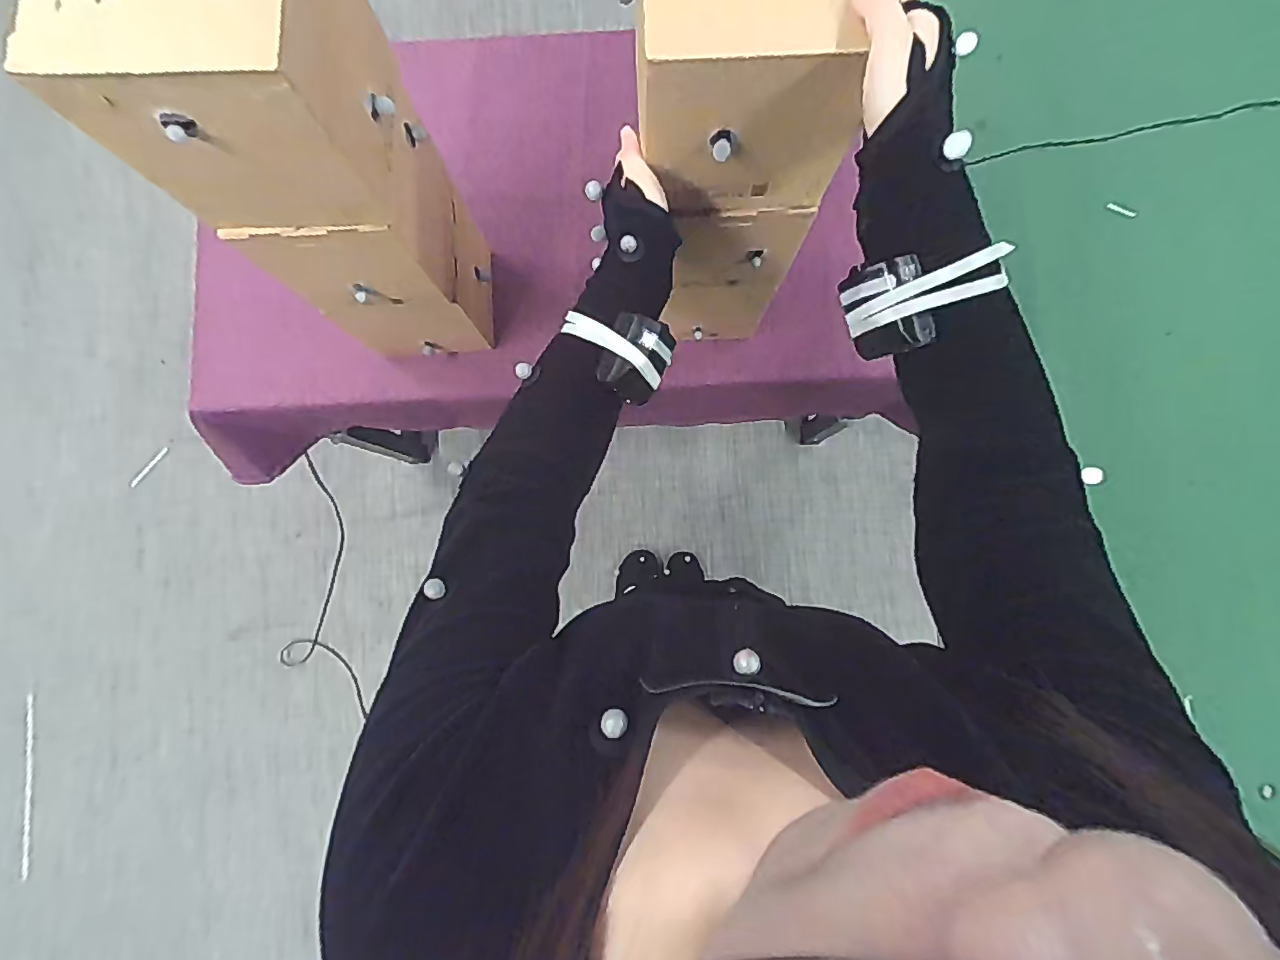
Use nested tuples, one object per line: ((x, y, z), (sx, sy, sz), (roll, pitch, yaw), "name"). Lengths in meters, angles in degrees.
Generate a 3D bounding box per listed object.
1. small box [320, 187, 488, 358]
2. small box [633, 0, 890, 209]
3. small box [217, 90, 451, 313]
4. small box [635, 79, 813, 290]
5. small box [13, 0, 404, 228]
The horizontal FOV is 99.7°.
((-0.319, -0.281, 0.762), (0.179, 0.176, 0.168), (-4, 83, -1), "small box")
((0.079, -0.342, 0.438), (0.168, 0.176, 0.179), (-2, 83, 0), "small box")
((-0.319, -0.304, 0.598), (0.168, 0.176, 0.179), (-3, 84, 0), "small box")
((0.082, -0.324, 0.599), (0.168, 0.176, 0.179), (-3, 84, 0), "small box")
((-0.315, -0.324, 0.434), (0.179, 0.176, 0.168), (-1, 84, -1), "small box")
